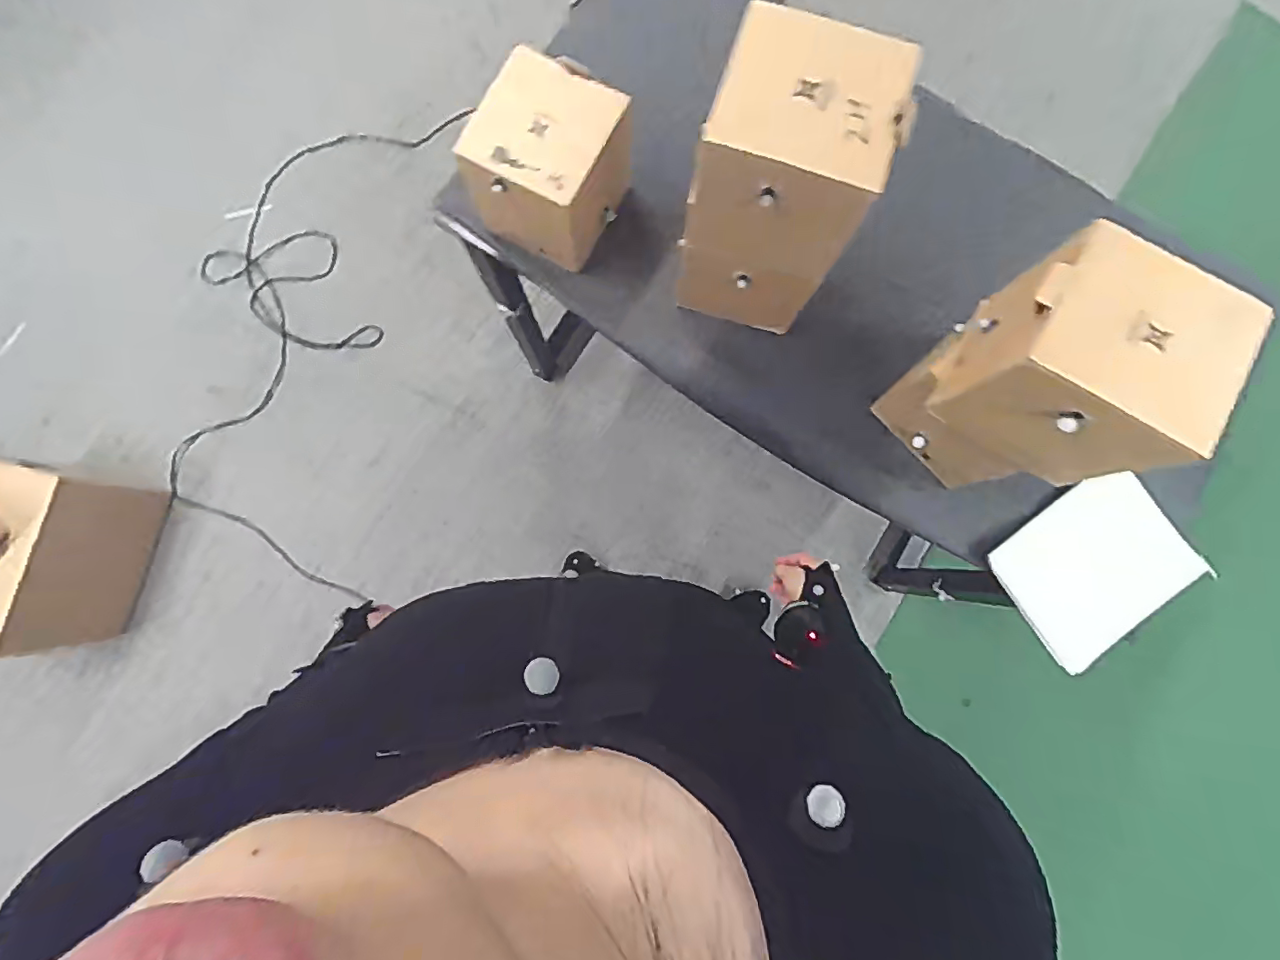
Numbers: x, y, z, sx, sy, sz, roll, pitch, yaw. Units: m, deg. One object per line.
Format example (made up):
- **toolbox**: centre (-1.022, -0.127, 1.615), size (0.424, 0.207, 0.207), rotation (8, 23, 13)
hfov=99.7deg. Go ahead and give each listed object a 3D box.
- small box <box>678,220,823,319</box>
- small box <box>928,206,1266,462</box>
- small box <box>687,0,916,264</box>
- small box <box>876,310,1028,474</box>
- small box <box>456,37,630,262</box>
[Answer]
- **small box**: centre (0.158, -0.348, 0.757), size (0.179, 0.176, 0.168), rotation (16, 83, 1)
- **small box**: centre (0.450, -0.132, 0.563), size (0.179, 0.176, 0.168), rotation (31, 82, 4)
- **small box**: centre (0.159, -0.368, 0.593), size (0.179, 0.176, 0.168), rotation (19, 83, 2)
- **small box**: centre (0.460, -0.131, 0.727), size (0.179, 0.176, 0.168), rotation (-42, 84, -6)
- **small box**: centre (-0.126, -0.452, 0.766), size (0.168, 0.176, 0.179), rotation (27, 83, 2)
